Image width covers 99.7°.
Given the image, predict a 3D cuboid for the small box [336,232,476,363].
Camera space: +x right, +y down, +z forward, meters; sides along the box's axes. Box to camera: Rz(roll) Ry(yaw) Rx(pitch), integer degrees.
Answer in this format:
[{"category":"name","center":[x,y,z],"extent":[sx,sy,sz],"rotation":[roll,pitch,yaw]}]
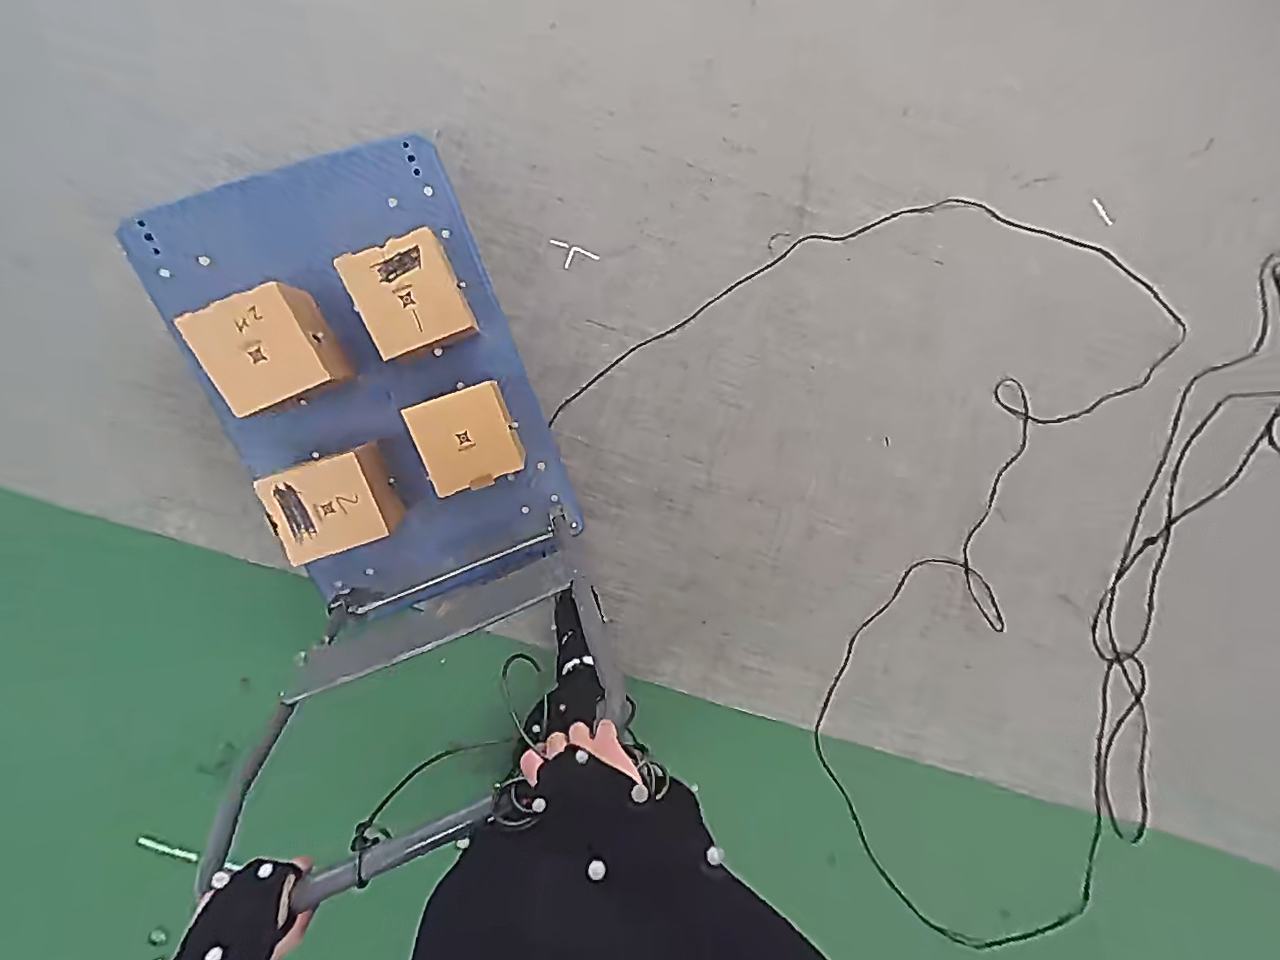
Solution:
[{"category":"small box","center":[-0.417,-0.324,0.996],"extent":[0.168,0.176,0.179],"rotation":[-24,105,-6]}]

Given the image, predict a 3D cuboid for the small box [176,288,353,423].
[{"category":"small box","center":[-0.651,-0.220,0.967],"extent":[0.168,0.176,0.179],"rotation":[-26,105,-7]}]

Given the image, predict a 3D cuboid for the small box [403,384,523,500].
[{"category":"small box","center":[-0.340,-0.082,1.064],"extent":[0.168,0.176,0.179],"rotation":[-21,106,-8]}]
